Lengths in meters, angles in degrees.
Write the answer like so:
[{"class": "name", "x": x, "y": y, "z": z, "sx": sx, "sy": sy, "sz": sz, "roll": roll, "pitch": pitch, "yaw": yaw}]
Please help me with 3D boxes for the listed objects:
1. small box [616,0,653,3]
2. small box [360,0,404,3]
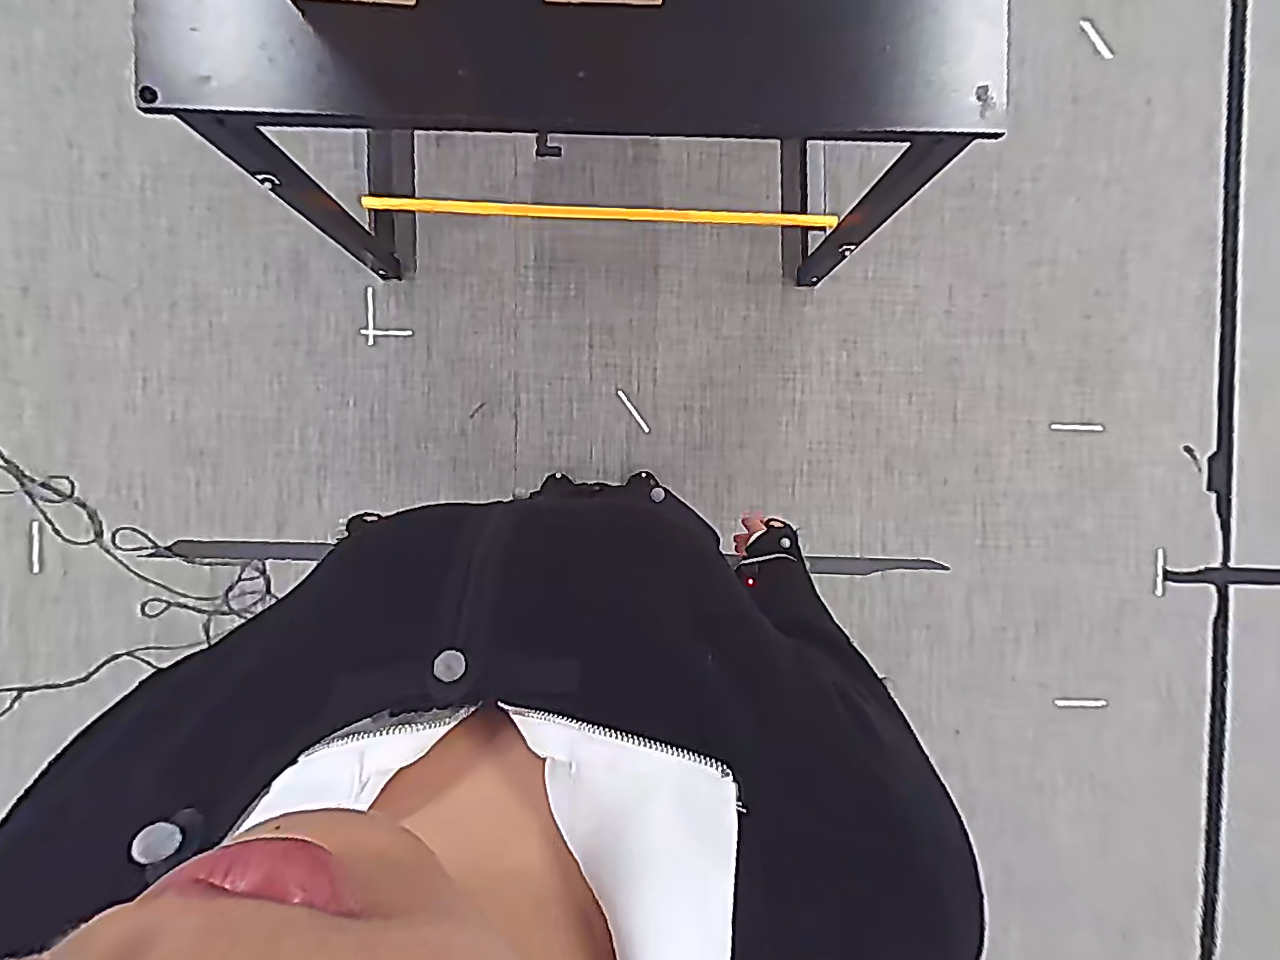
[{"class": "small box", "x": -0.050, "y": -0.748, "z": 0.674, "sx": 0.168, "sy": 0.176, "sz": 0.179, "roll": -1, "pitch": 91, "yaw": -2}, {"class": "small box", "x": -0.387, "y": -0.734, "z": 0.658, "sx": 0.179, "sy": 0.176, "sz": 0.168, "roll": 2, "pitch": 91, "yaw": -4}]
